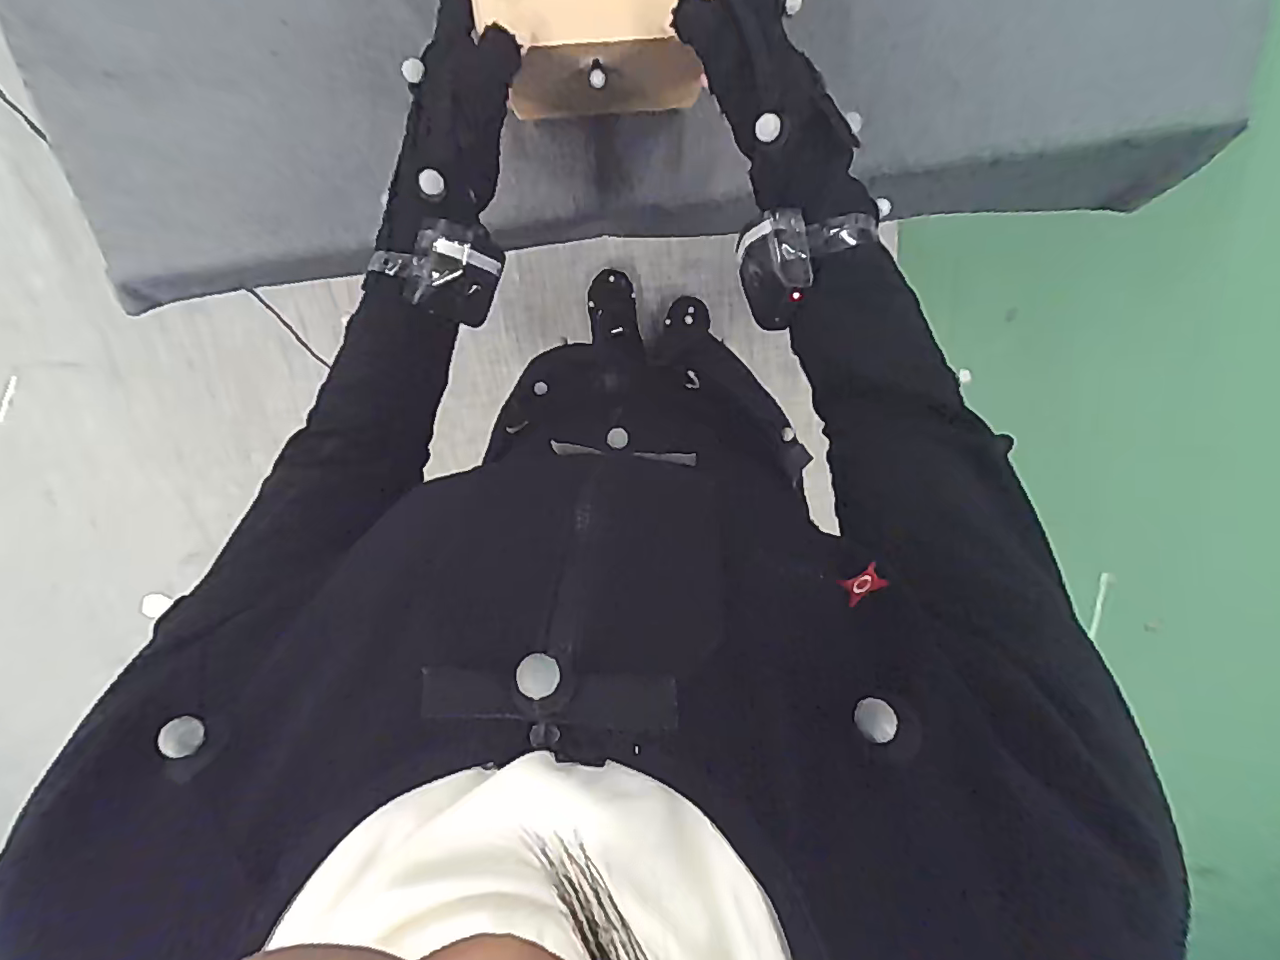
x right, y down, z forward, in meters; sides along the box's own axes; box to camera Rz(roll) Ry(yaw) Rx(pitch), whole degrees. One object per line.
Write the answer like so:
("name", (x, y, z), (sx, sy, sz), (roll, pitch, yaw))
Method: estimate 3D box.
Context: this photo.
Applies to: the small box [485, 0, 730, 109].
("small box", (-0.031, -0.425, 0.439), (0.179, 0.176, 0.168), (-6, 110, -1))
